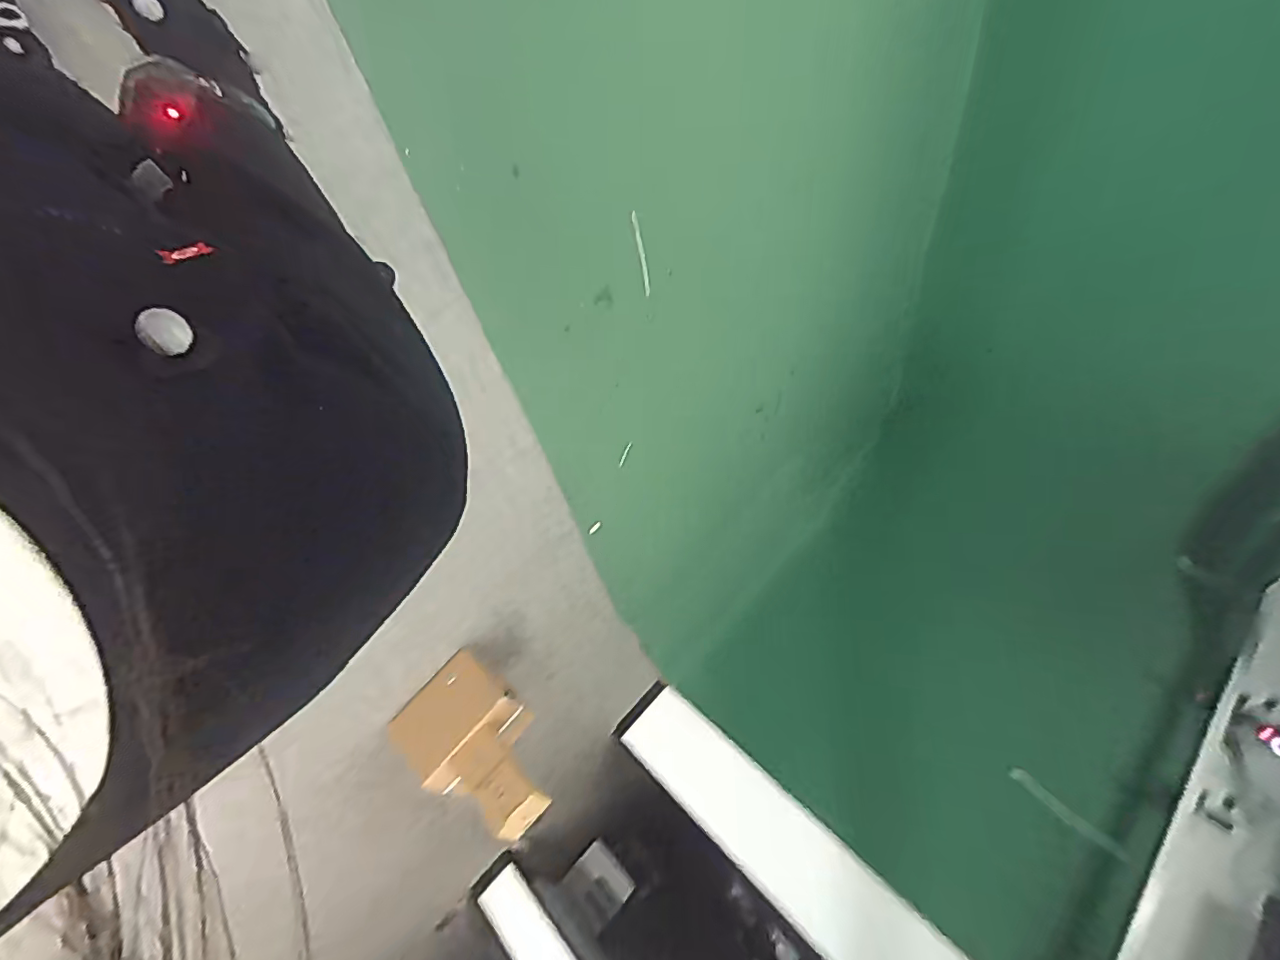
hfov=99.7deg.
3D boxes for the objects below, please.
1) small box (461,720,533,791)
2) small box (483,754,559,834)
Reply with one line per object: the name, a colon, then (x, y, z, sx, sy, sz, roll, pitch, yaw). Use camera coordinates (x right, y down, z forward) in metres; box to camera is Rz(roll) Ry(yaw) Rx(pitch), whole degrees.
small box: (-0.538, 1.038, 2.013, 0.179, 0.176, 0.168, -44, 142, -20)
small box: (-0.424, 1.108, 1.919, 0.168, 0.176, 0.179, -44, 142, -19)
